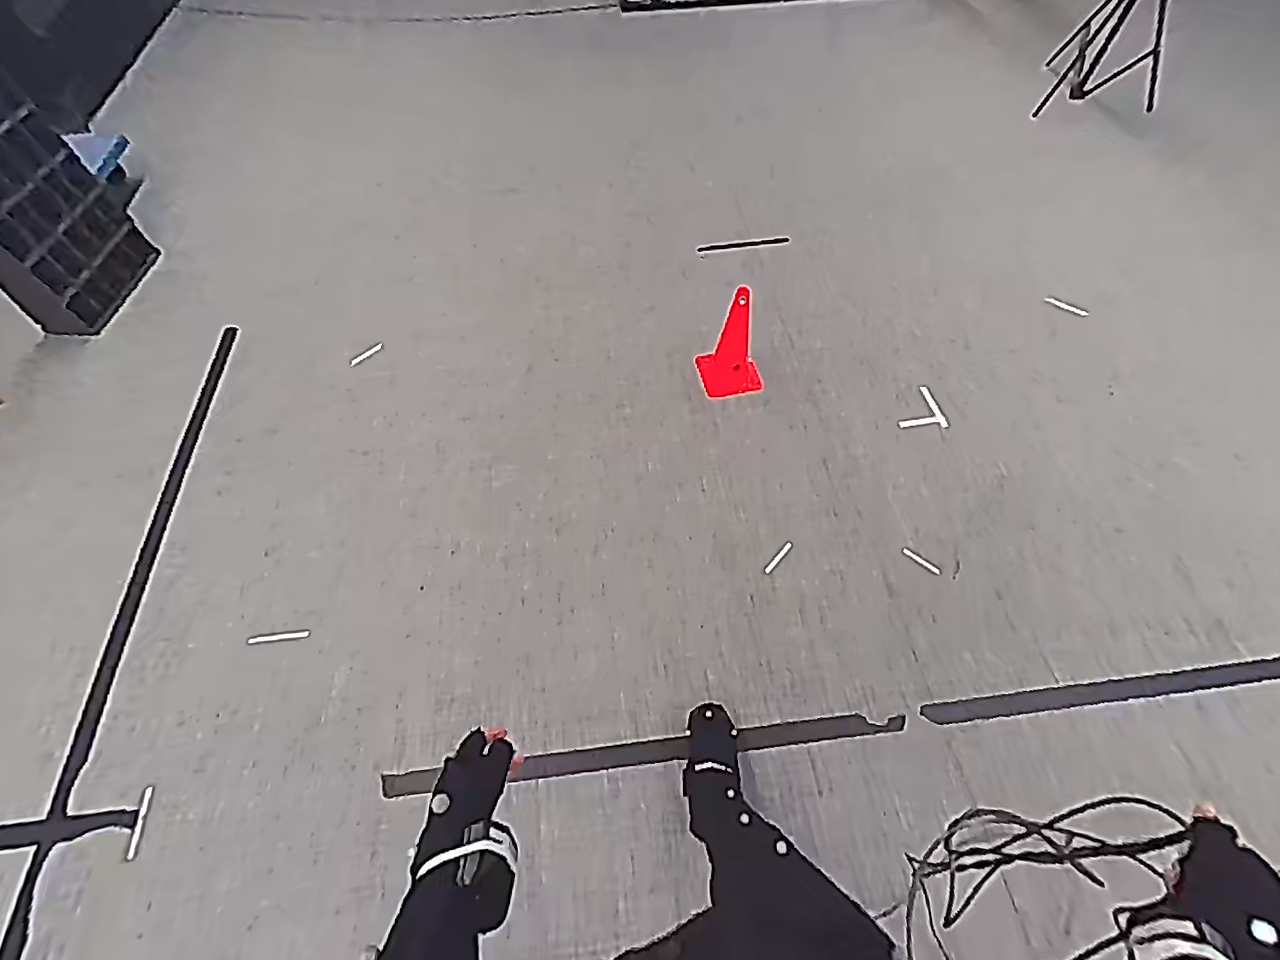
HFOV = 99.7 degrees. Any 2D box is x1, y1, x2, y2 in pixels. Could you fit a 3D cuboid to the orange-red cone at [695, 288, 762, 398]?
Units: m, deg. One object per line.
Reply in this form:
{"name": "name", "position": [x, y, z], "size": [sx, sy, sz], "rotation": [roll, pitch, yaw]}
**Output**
{"name": "orange-red cone", "position": [0.300, -0.457, 1.729], "size": [0.199, 0.360, 0.198], "rotation": [-11, 58, -4]}
